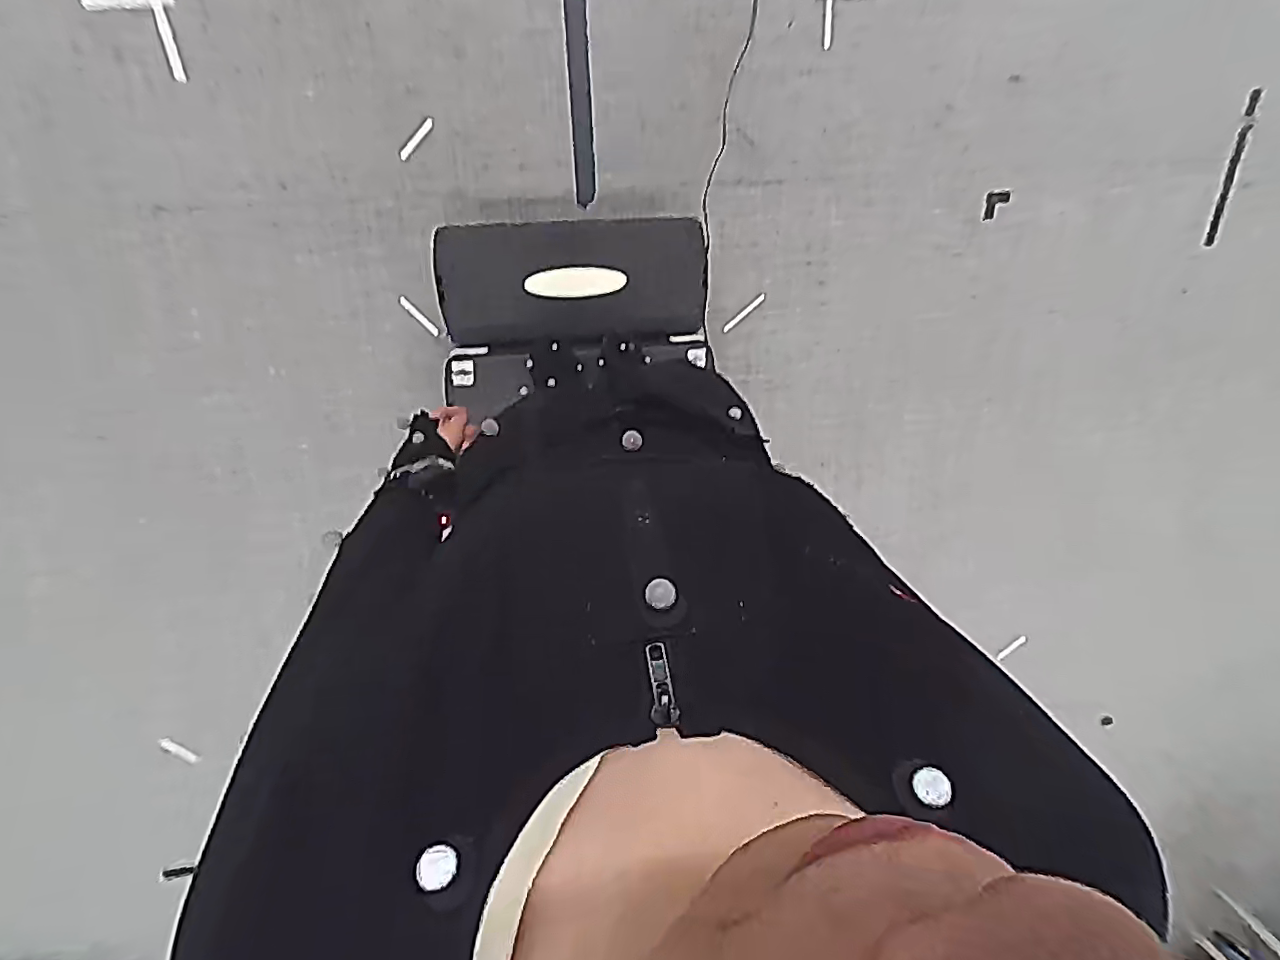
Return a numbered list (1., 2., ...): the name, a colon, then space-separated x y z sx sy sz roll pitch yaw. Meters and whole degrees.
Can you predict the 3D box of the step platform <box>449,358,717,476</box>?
1. step platform: -0.142 -0.165 1.423 0.684 0.204 0.286 -1 108 -7
